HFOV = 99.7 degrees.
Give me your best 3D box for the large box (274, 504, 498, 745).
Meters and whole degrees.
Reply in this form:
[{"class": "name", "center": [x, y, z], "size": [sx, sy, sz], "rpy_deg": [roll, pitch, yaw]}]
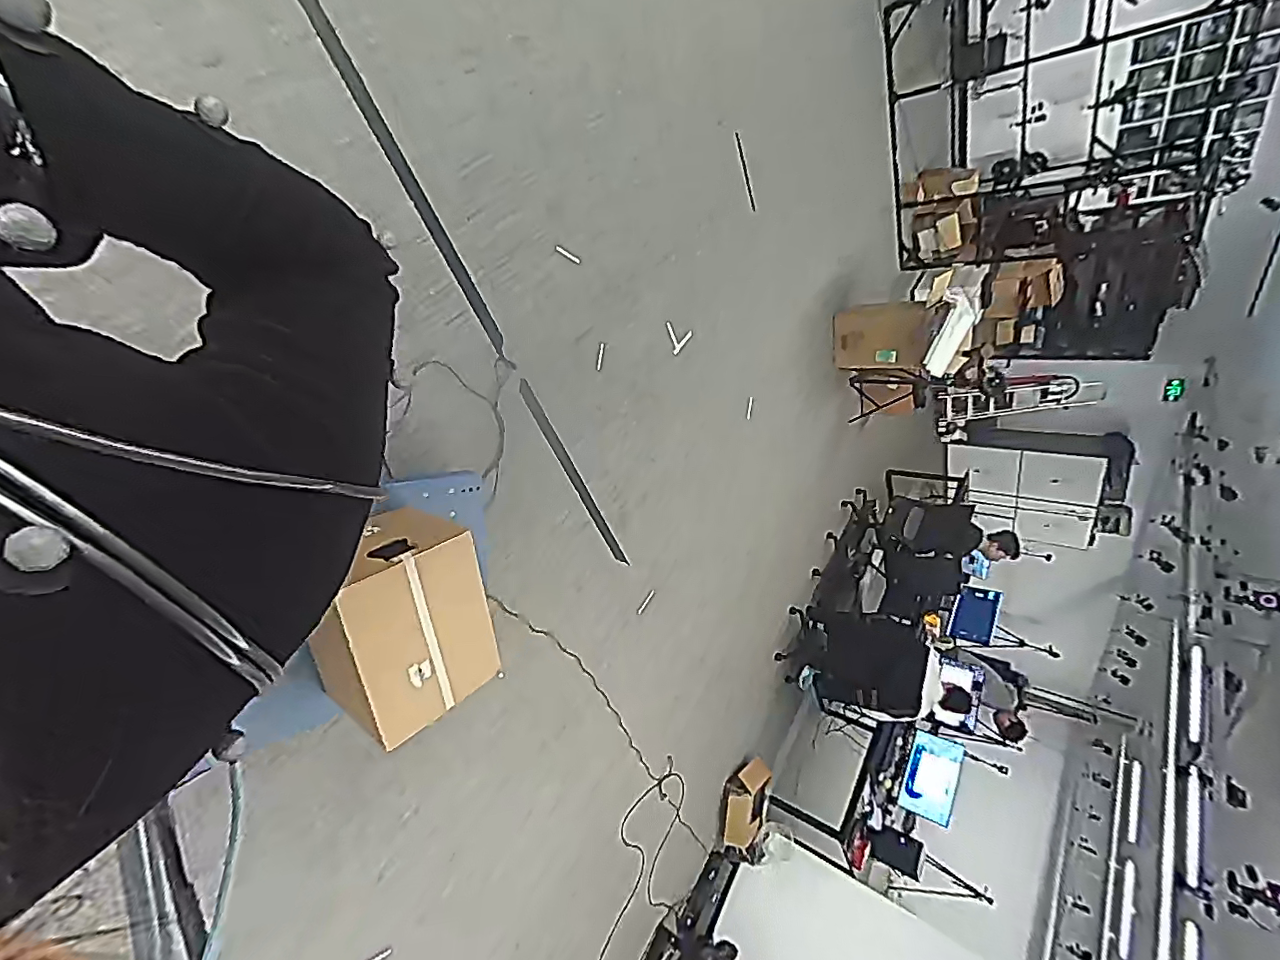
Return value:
[{"class": "large box", "center": [-0.591, 0.317, 1.286], "size": [0.320, 0.320, 0.408], "rpy_deg": [-27, 120, -44]}]
